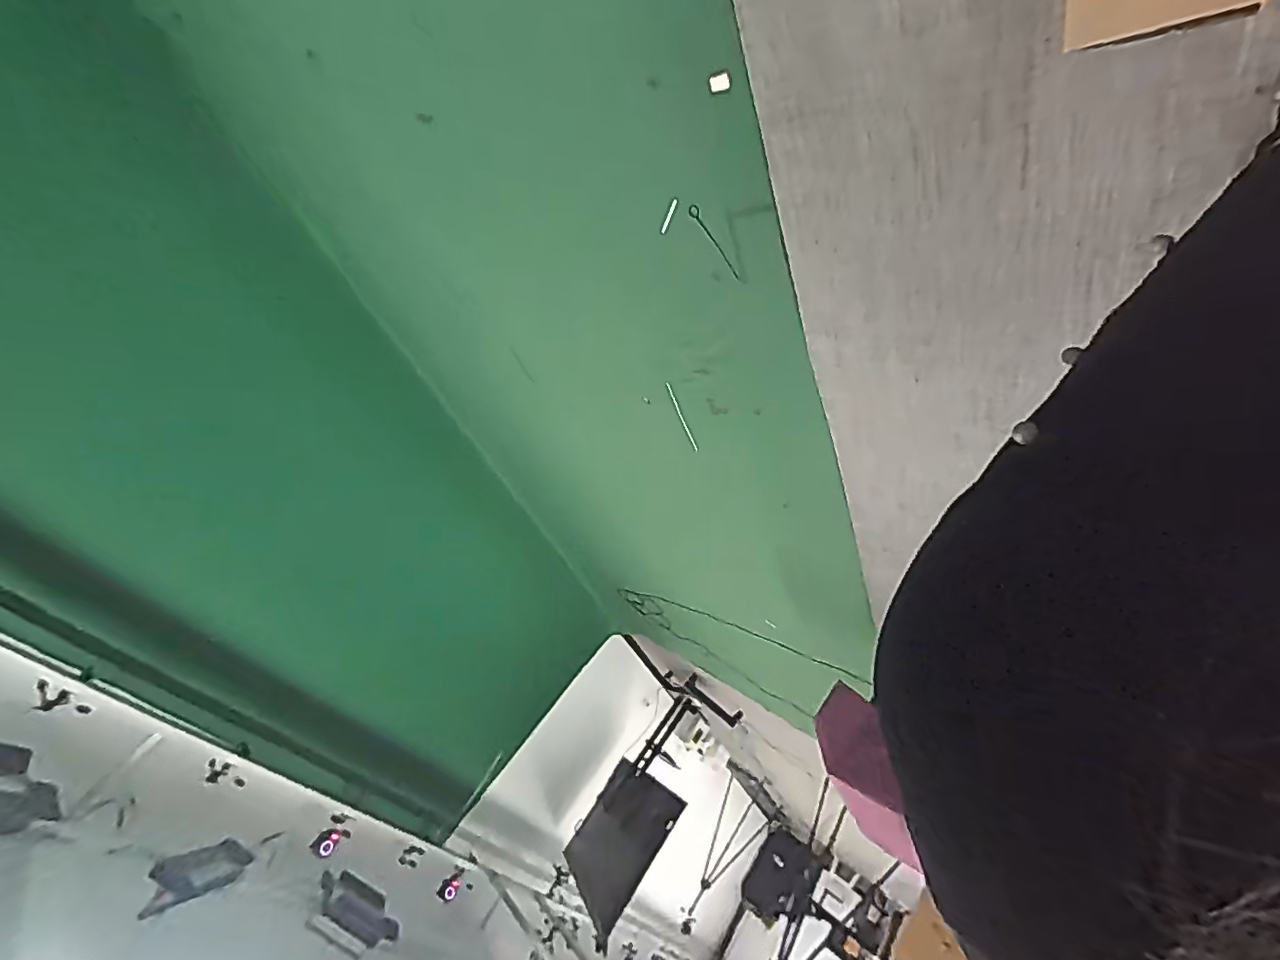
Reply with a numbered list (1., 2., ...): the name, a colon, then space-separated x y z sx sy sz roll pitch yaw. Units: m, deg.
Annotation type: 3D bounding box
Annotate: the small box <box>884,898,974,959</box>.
1. small box: 0.788 1.292 1.468 0.168 0.176 0.179 17 145 44
